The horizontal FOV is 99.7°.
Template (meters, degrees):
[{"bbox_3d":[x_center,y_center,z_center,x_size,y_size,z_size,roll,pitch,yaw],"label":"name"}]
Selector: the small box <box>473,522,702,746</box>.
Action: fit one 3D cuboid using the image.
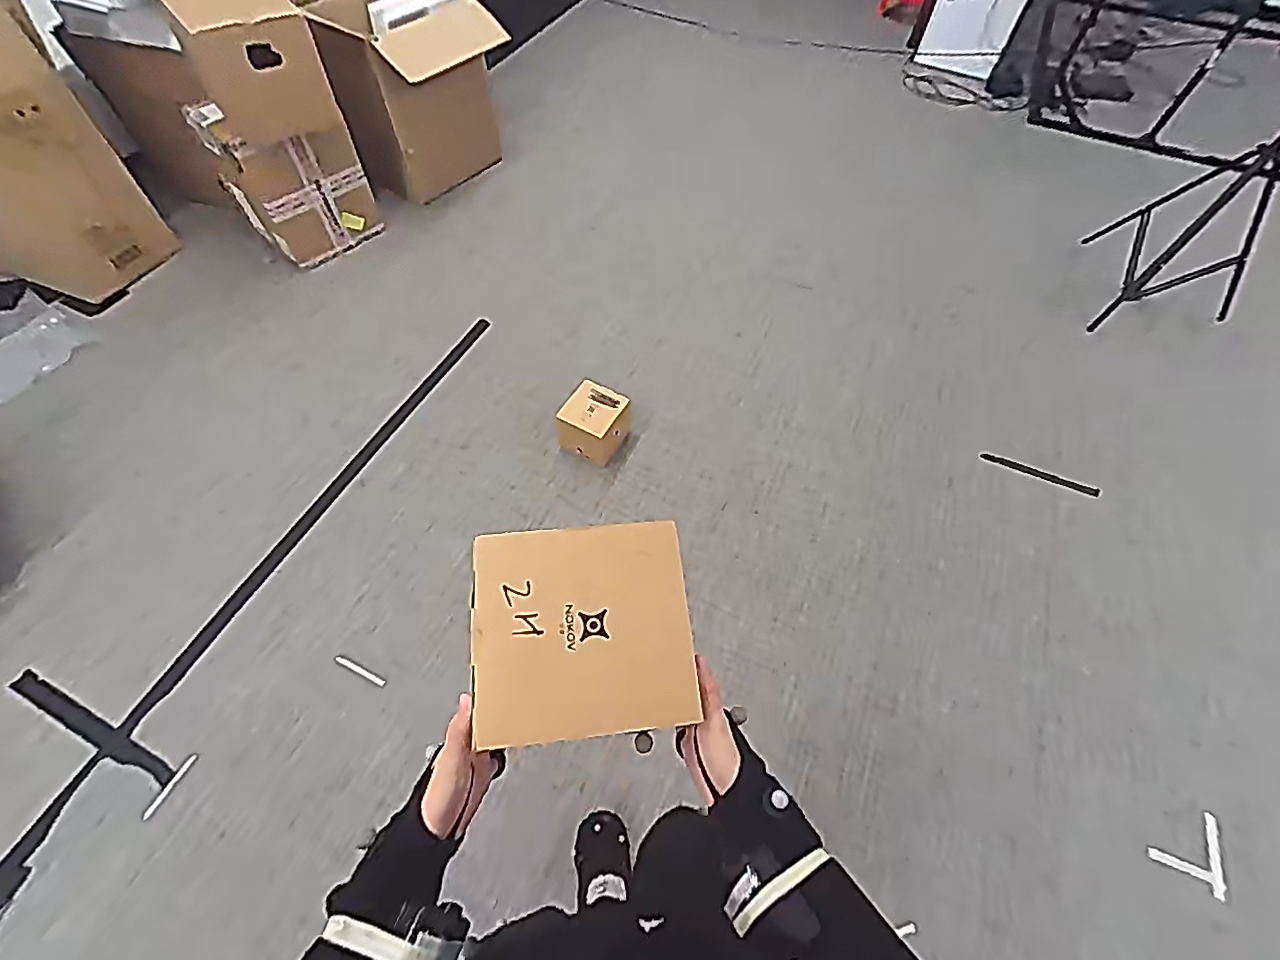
[{"bbox_3d":[-0.051,0.146,0.509,0.179,0.176,0.168,-4,67,-6],"label":"small box"}]
